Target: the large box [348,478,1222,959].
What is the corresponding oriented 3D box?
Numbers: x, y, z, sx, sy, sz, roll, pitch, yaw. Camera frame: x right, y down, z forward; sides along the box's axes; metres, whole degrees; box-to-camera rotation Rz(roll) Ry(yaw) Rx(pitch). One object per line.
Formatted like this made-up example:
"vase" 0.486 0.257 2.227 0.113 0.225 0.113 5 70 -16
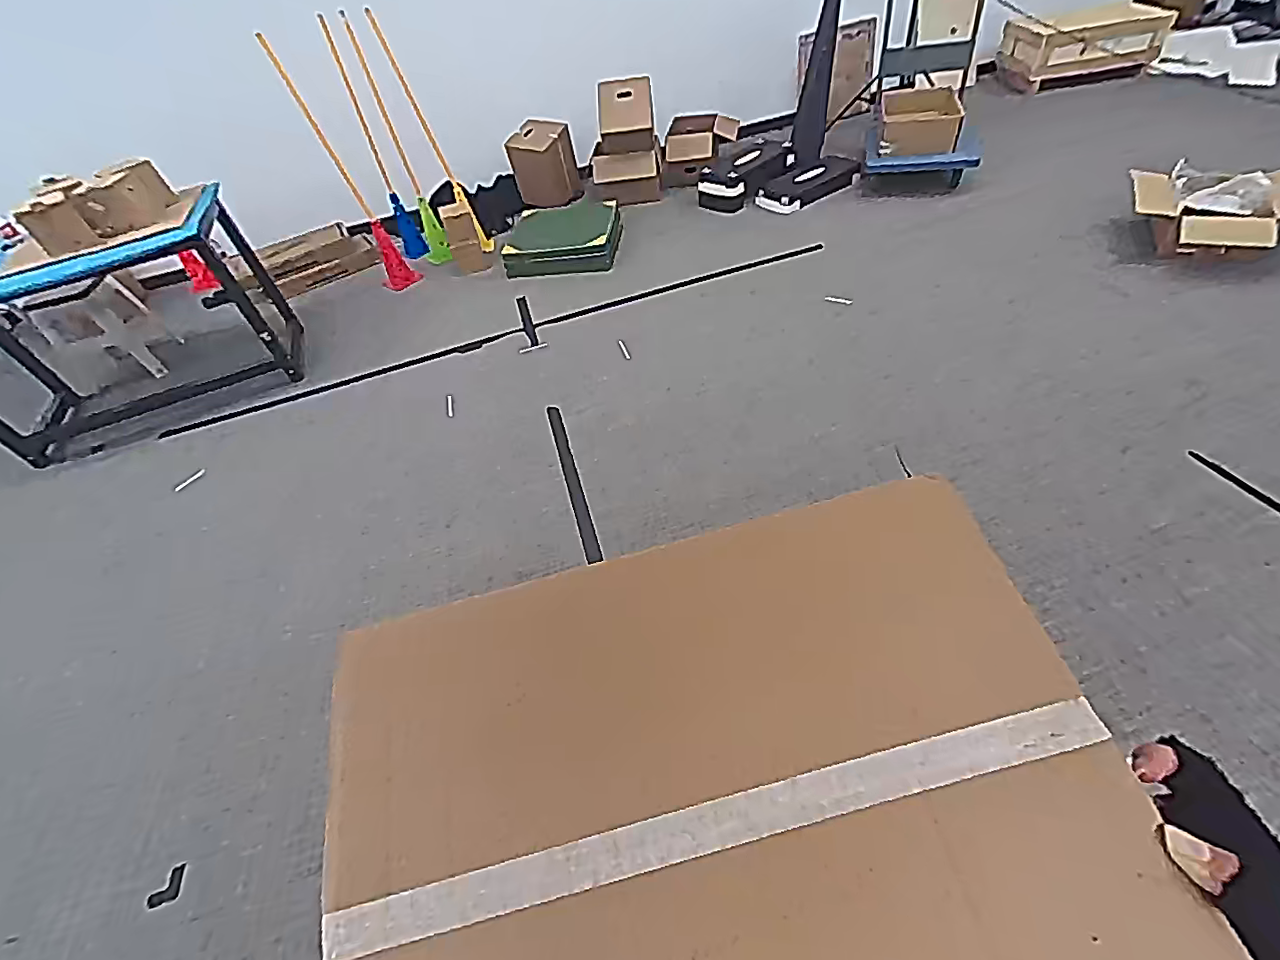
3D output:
"large box" 0.056 0.252 0.414 0.408 0.320 0.320 -16 60 -1
